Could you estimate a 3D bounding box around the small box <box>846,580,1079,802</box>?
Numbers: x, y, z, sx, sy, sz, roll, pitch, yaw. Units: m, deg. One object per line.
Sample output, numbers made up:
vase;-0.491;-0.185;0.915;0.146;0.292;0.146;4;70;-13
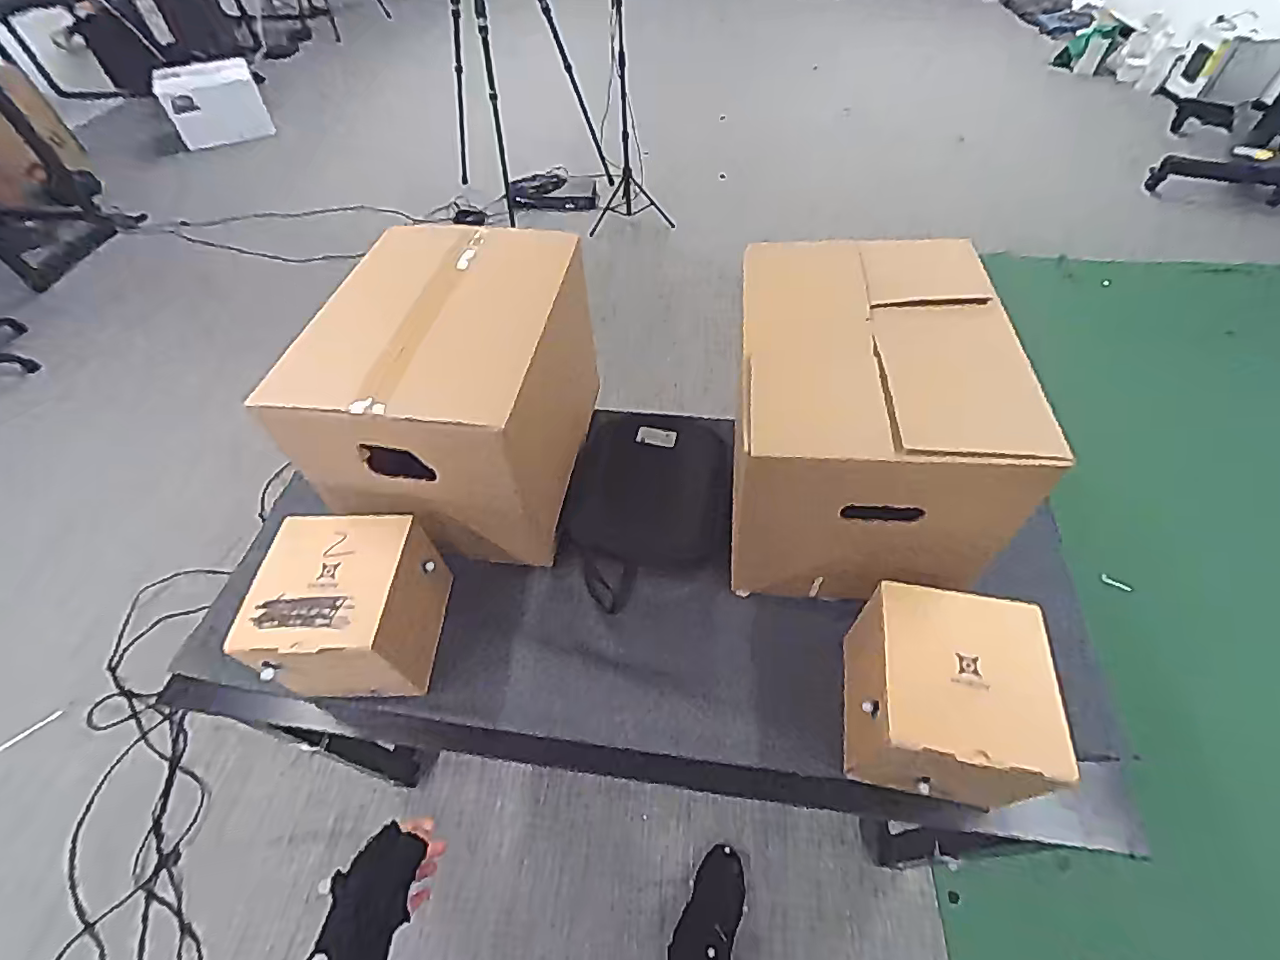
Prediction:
small box;0.338;0.240;0.612;0.168;0.176;0.179;9;54;10
